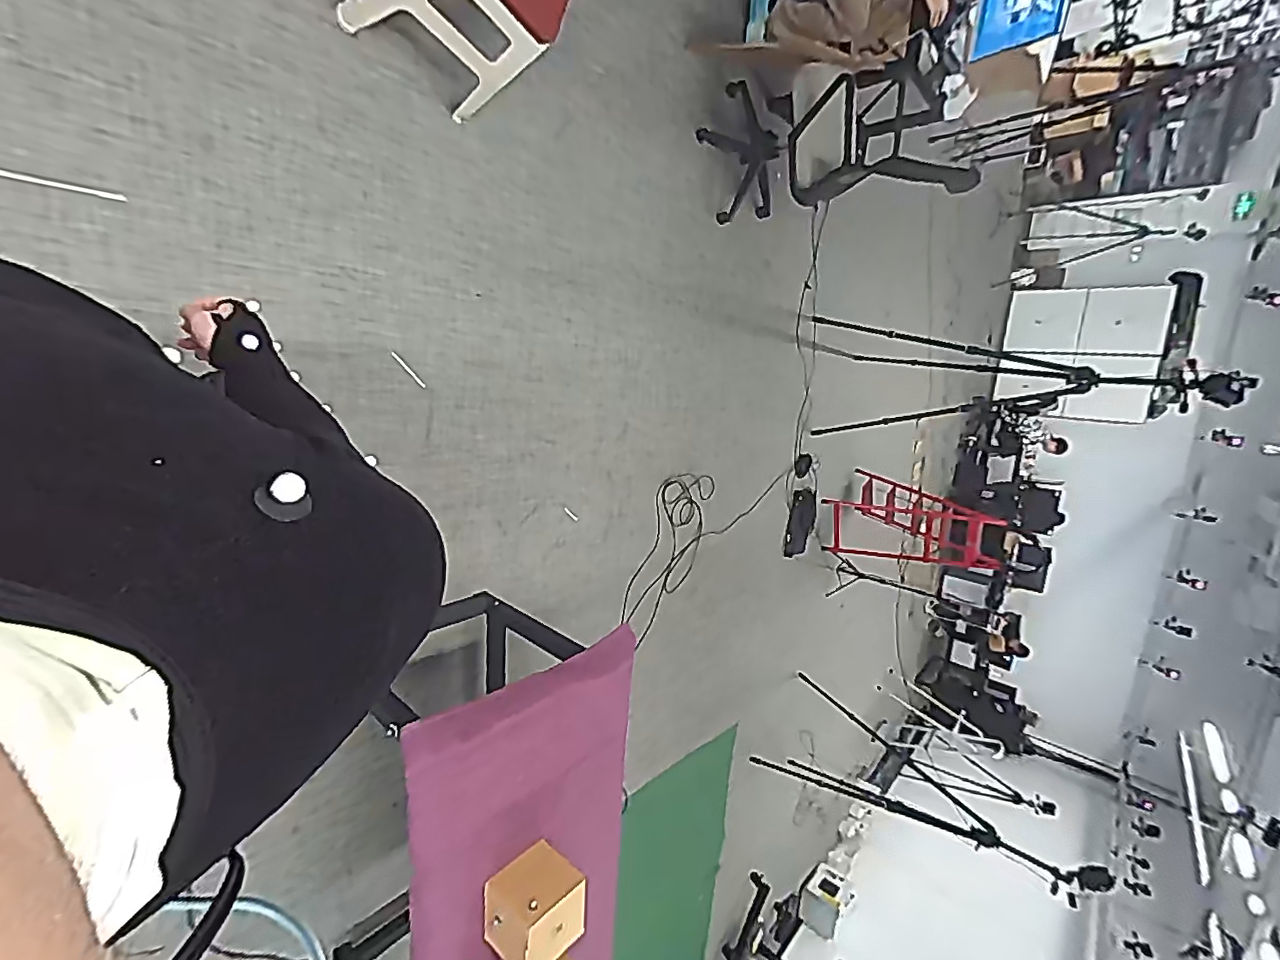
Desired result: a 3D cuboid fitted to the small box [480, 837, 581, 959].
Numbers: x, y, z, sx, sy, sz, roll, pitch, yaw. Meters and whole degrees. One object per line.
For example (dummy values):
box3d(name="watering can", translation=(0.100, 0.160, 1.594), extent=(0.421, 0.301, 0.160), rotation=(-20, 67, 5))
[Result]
box3d(name="small box", translation=(-0.266, 1.028, 1.317), extent=(0.179, 0.176, 0.168), rotation=(-10, 108, -47))
